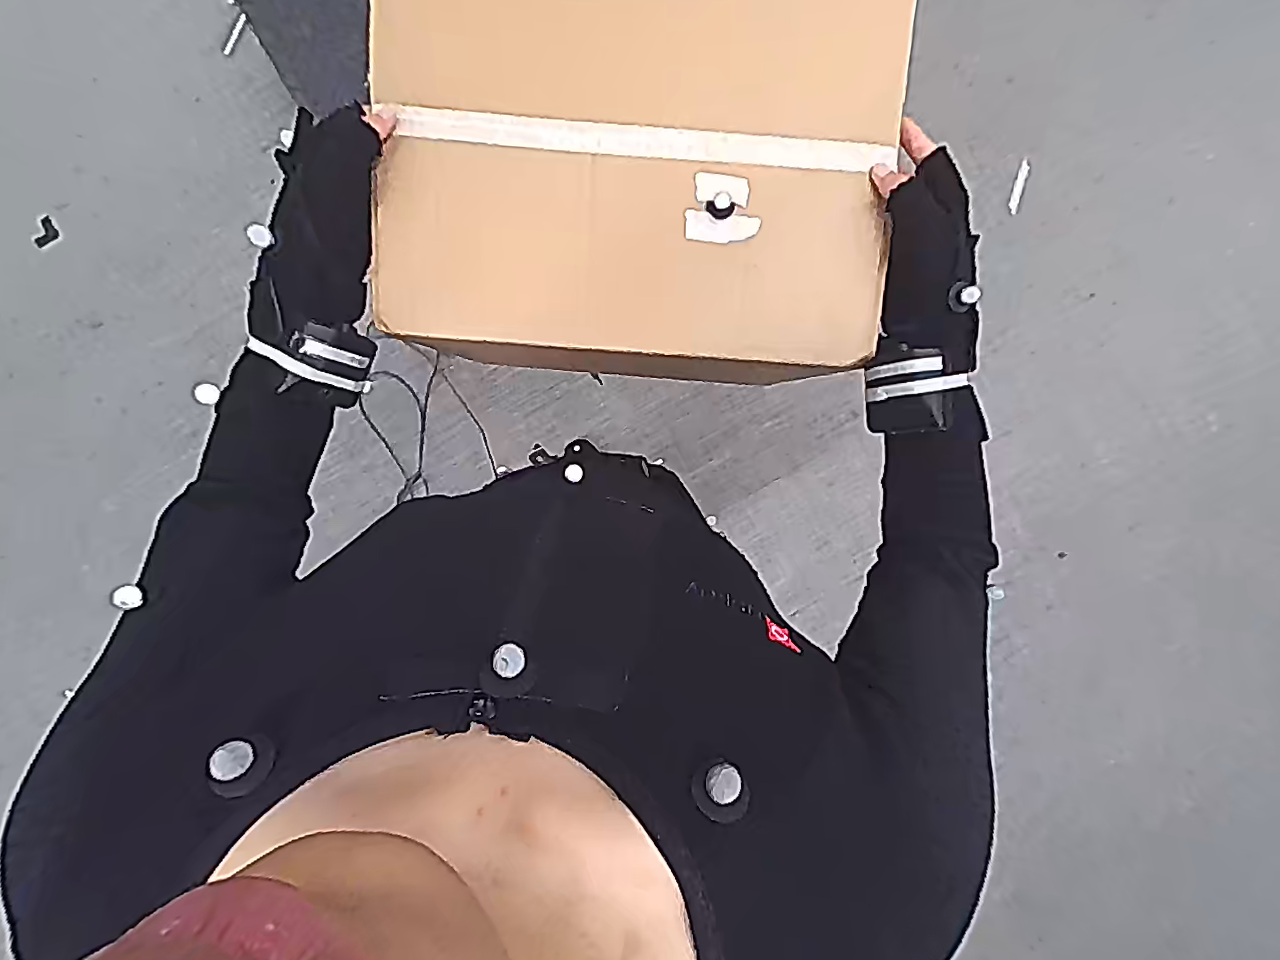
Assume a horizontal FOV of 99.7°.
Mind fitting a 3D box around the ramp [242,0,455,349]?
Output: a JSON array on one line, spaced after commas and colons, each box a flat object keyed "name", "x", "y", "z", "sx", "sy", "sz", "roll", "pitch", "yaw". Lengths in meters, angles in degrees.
[{"name": "ramp", "x": -0.544, "y": -0.901, "z": 1.402, "sx": 0.509, "sy": 0.206, "sz": 0.991, "roll": -30, "pitch": 90, "yaw": -2}]

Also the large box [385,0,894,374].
[{"name": "large box", "x": -0.009, "y": -0.289, "z": 0.580, "sx": 0.408, "sy": 0.320, "sz": 0.320, "roll": 3, "pitch": 98, "yaw": -3}]
